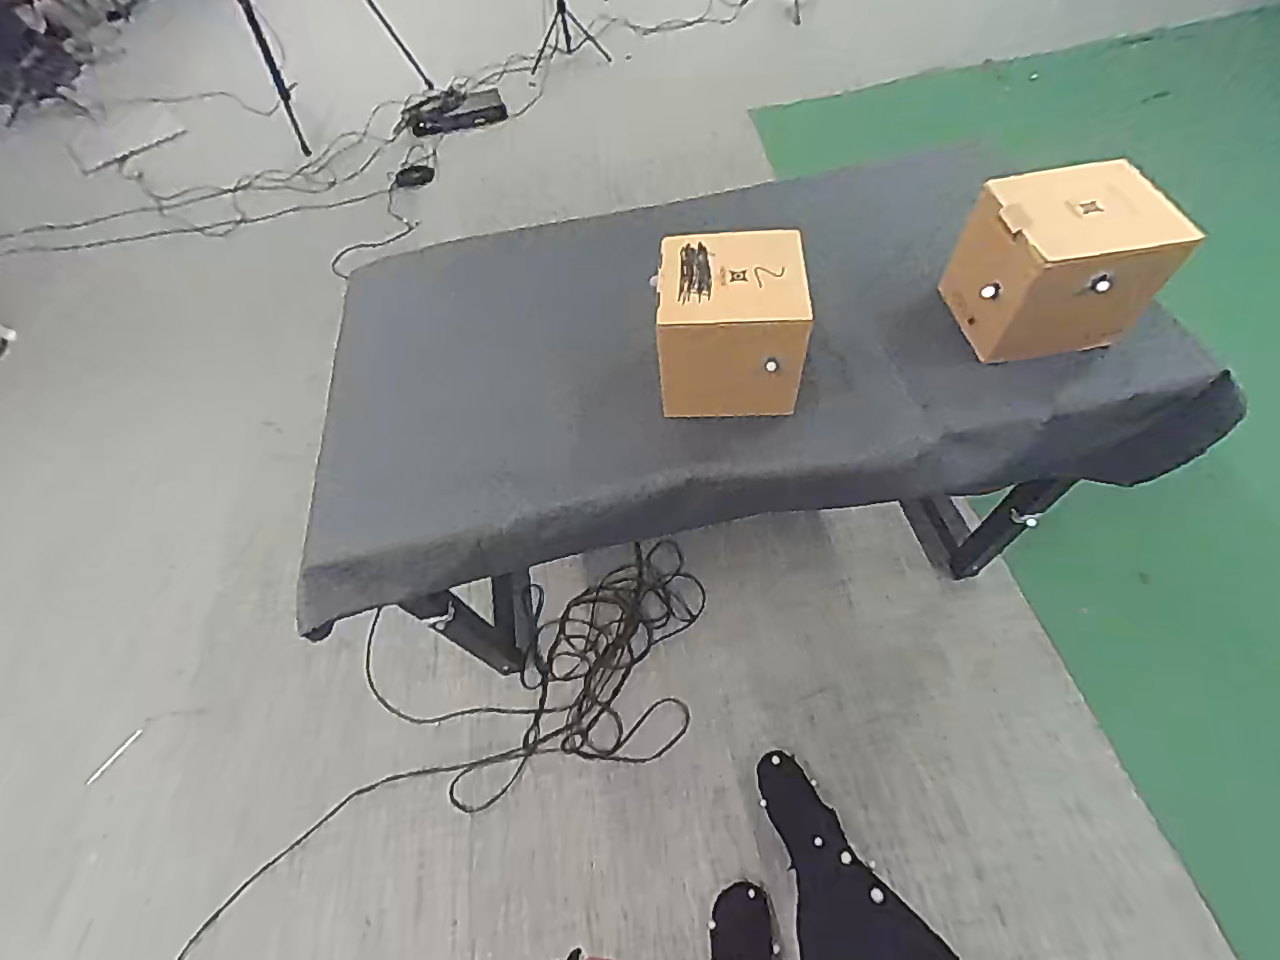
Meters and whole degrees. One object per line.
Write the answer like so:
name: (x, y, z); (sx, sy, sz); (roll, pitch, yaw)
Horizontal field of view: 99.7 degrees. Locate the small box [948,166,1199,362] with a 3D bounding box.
small box: (0.535, -0.273, 0.709); (0.179, 0.176, 0.168); (-7, 58, 3)
